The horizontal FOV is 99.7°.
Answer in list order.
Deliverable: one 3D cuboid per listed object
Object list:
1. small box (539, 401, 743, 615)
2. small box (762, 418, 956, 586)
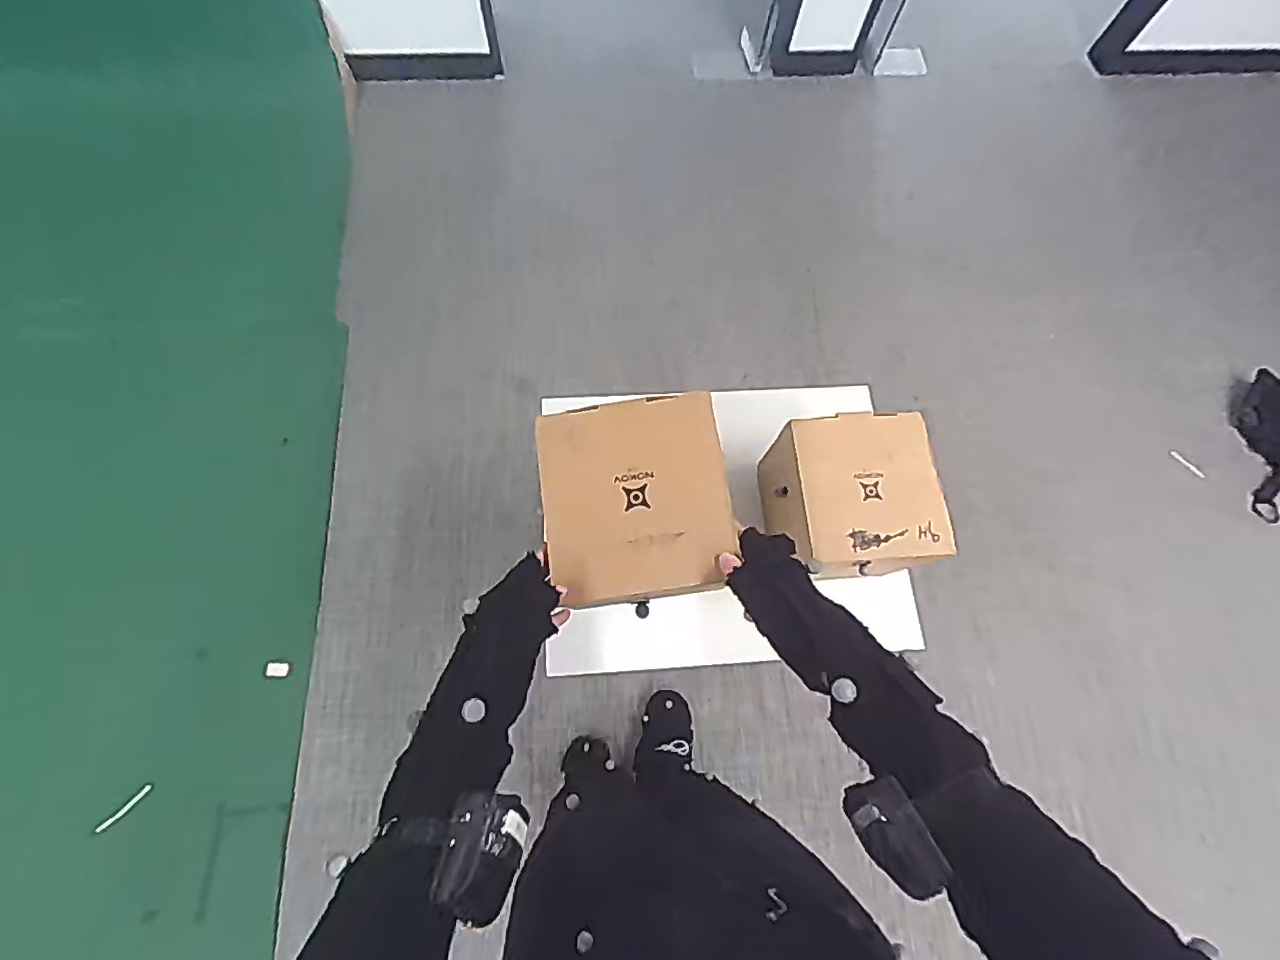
[{"bbox_3d":[0.000,0.041,0.564,0.168,0.176,0.179,-10,76,1],"label":"small box"},{"bbox_3d":[0.264,0.035,0.699,0.168,0.176,0.179,-3,72,-2],"label":"small box"}]
